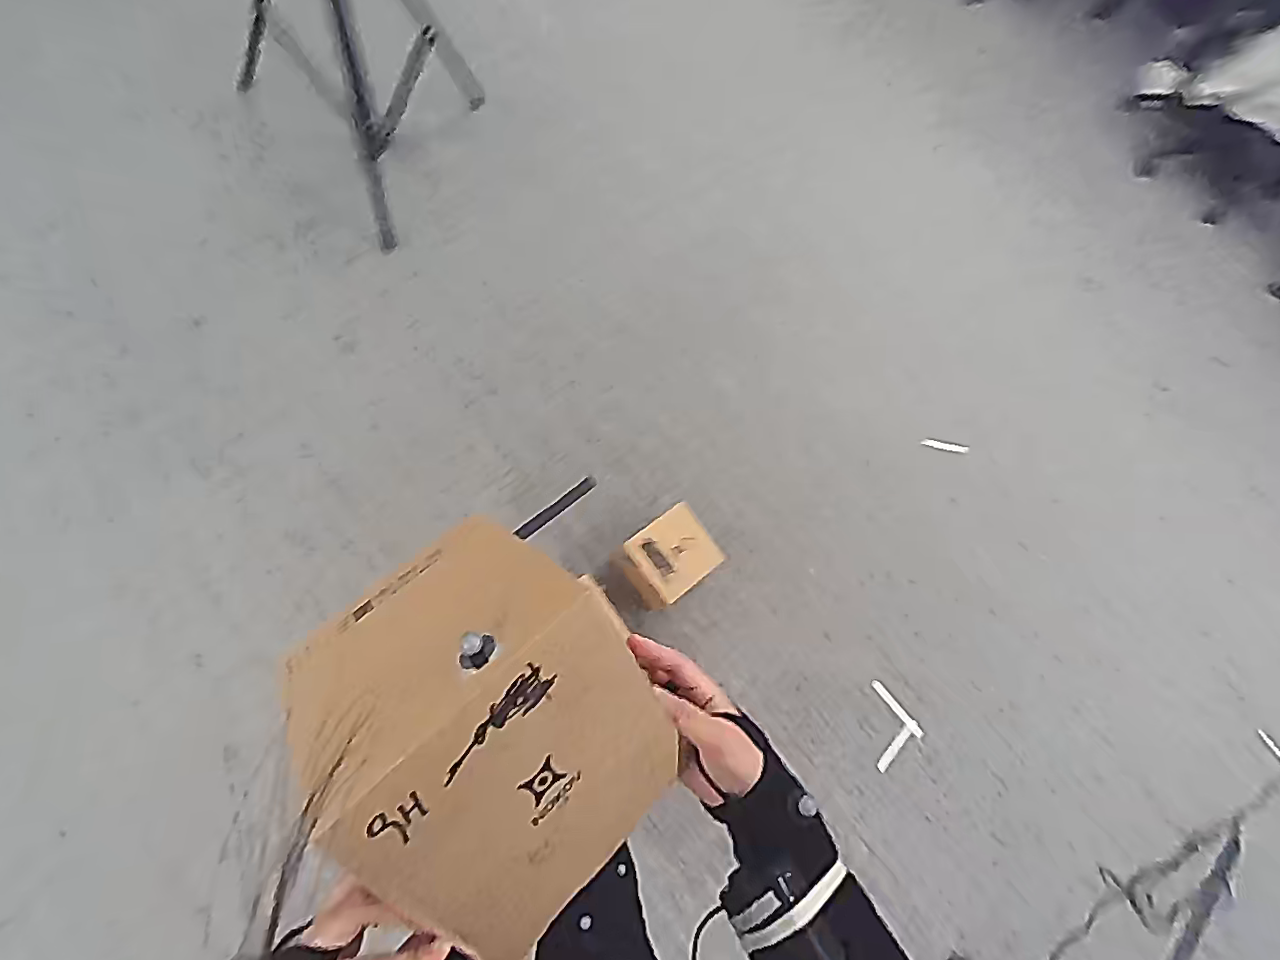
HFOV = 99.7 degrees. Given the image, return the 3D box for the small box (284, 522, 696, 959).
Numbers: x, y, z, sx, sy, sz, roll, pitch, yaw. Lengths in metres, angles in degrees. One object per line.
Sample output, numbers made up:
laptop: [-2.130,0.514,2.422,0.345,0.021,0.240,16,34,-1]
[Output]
small box: [-0.095,0.155,0.358,0.168,0.176,0.179,-39,125,-25]
